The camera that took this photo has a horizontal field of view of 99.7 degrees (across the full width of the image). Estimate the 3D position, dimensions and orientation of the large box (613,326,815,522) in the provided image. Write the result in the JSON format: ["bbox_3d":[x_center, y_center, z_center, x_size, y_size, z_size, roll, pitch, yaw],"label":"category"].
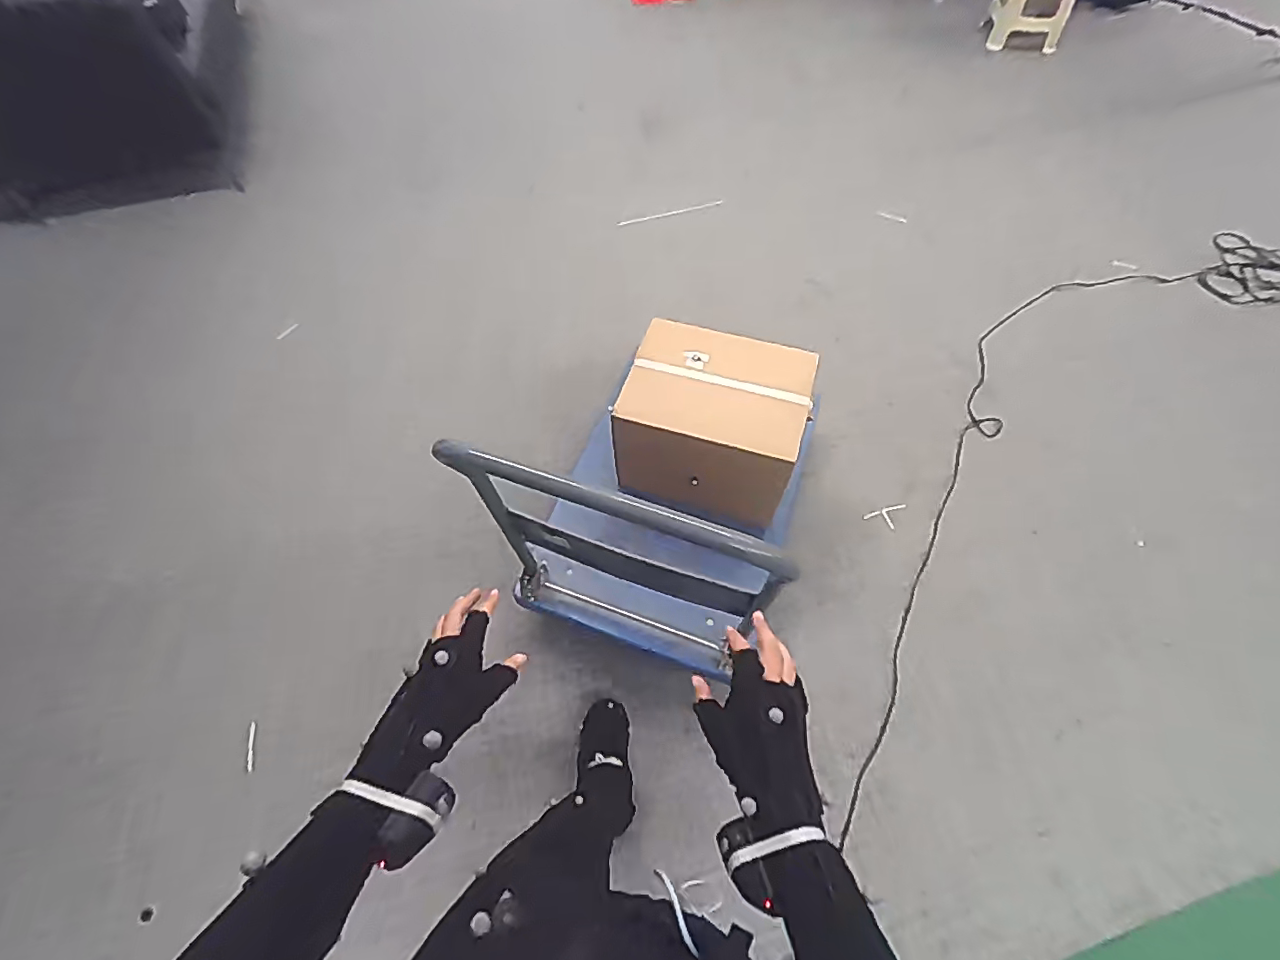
[{"bbox_3d":[0.181,-0.132,1.342,0.408,0.320,0.320,14,60,11],"label":"large box"}]
